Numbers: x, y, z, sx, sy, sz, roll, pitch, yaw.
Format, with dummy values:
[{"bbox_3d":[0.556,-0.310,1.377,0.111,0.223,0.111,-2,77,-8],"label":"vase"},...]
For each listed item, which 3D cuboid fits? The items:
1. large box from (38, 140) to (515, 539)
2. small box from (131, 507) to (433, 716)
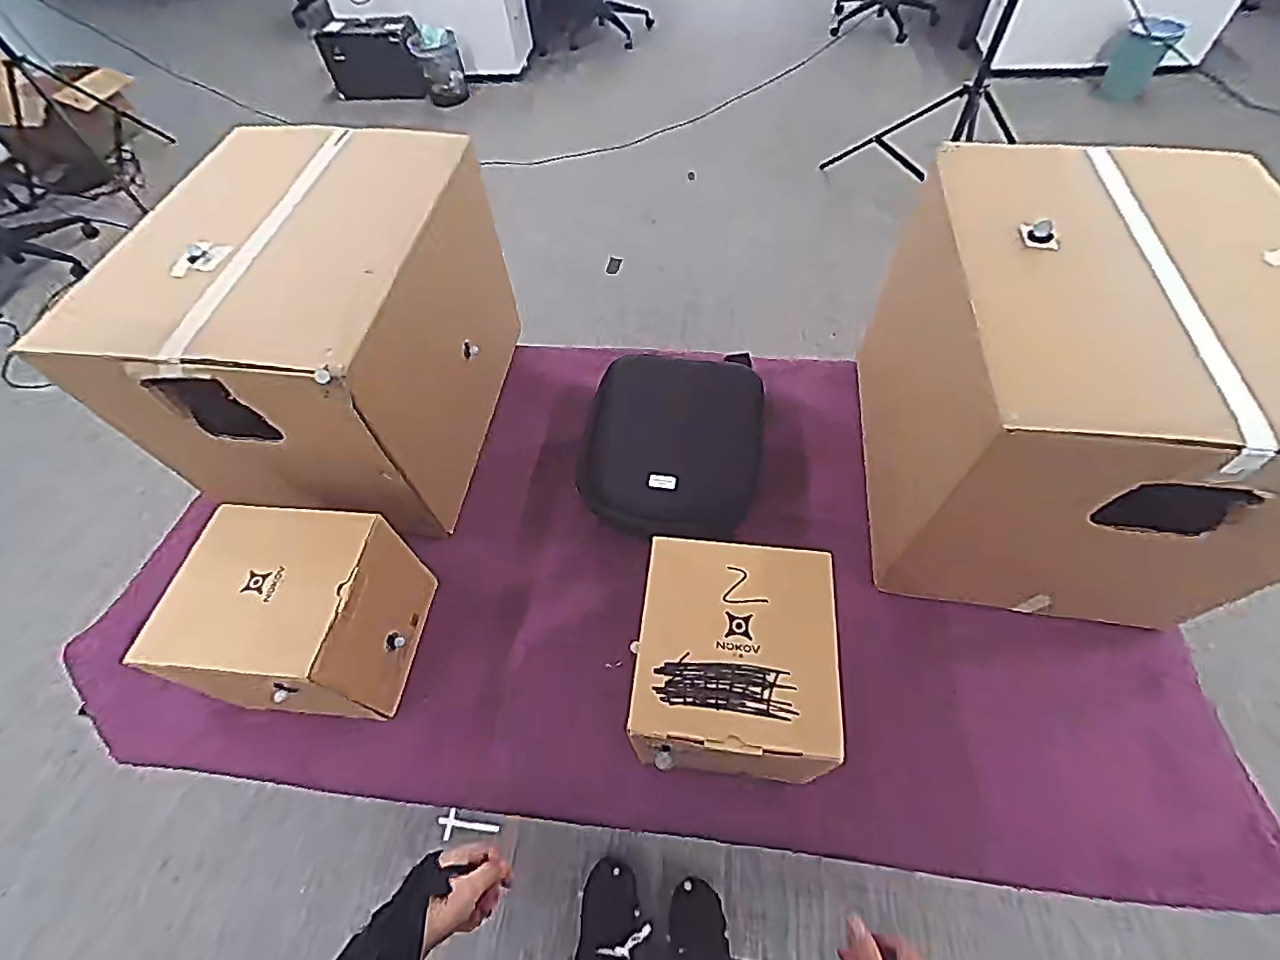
[{"bbox_3d":[-0.378,-0.177,0.708,0.320,0.320,0.408,4,59,5],"label":"large box"},{"bbox_3d":[-0.353,0.145,0.578,0.179,0.176,0.168,3,55,4],"label":"small box"}]
